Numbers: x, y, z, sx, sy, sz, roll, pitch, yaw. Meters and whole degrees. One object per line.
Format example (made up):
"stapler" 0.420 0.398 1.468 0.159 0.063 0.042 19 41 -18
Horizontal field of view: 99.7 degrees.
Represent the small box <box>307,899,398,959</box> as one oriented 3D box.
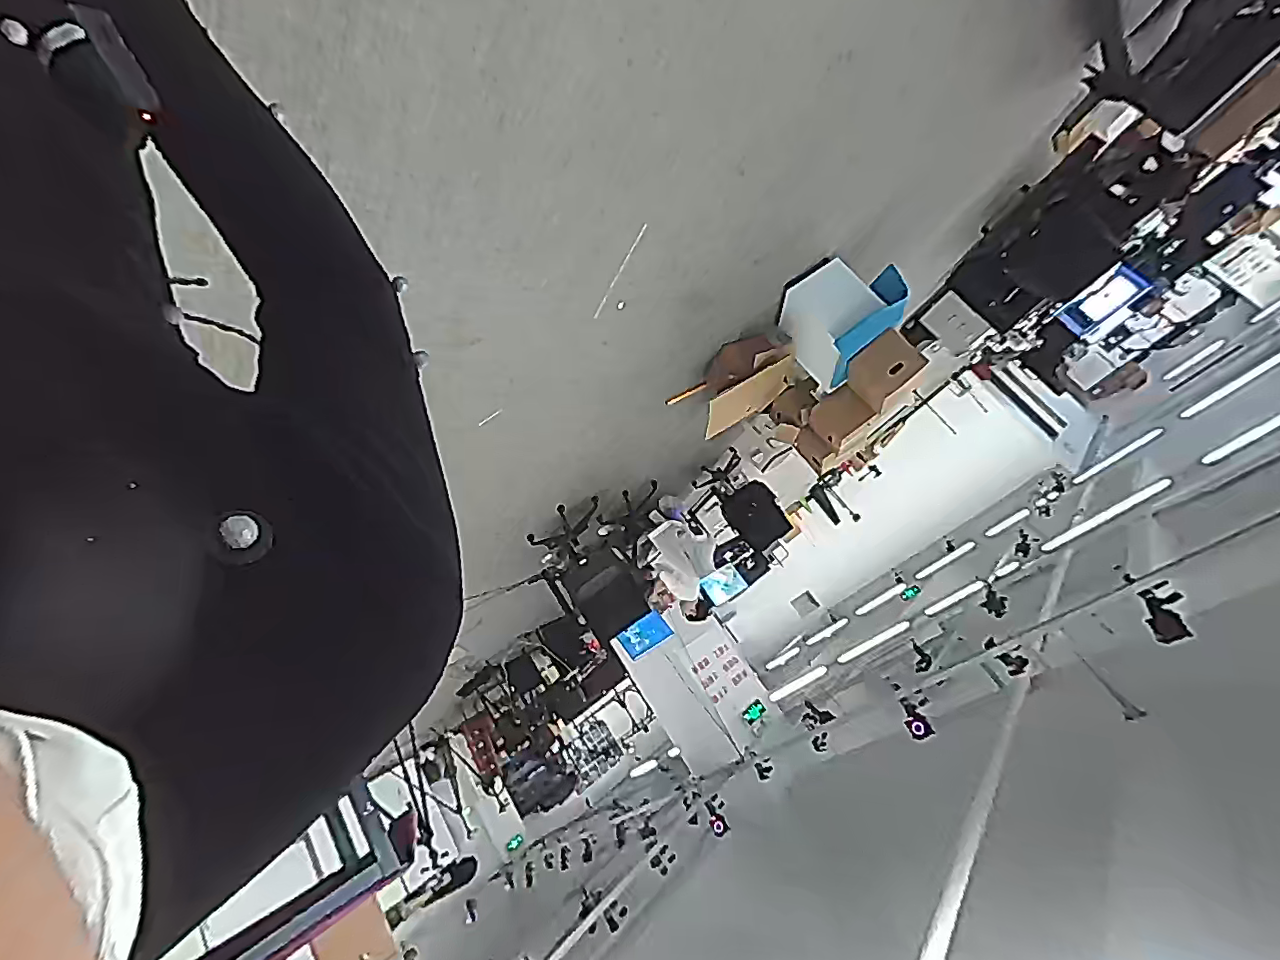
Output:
"small box" -0.818 1.336 1.535 0.179 0.176 0.168 -17 154 -42
